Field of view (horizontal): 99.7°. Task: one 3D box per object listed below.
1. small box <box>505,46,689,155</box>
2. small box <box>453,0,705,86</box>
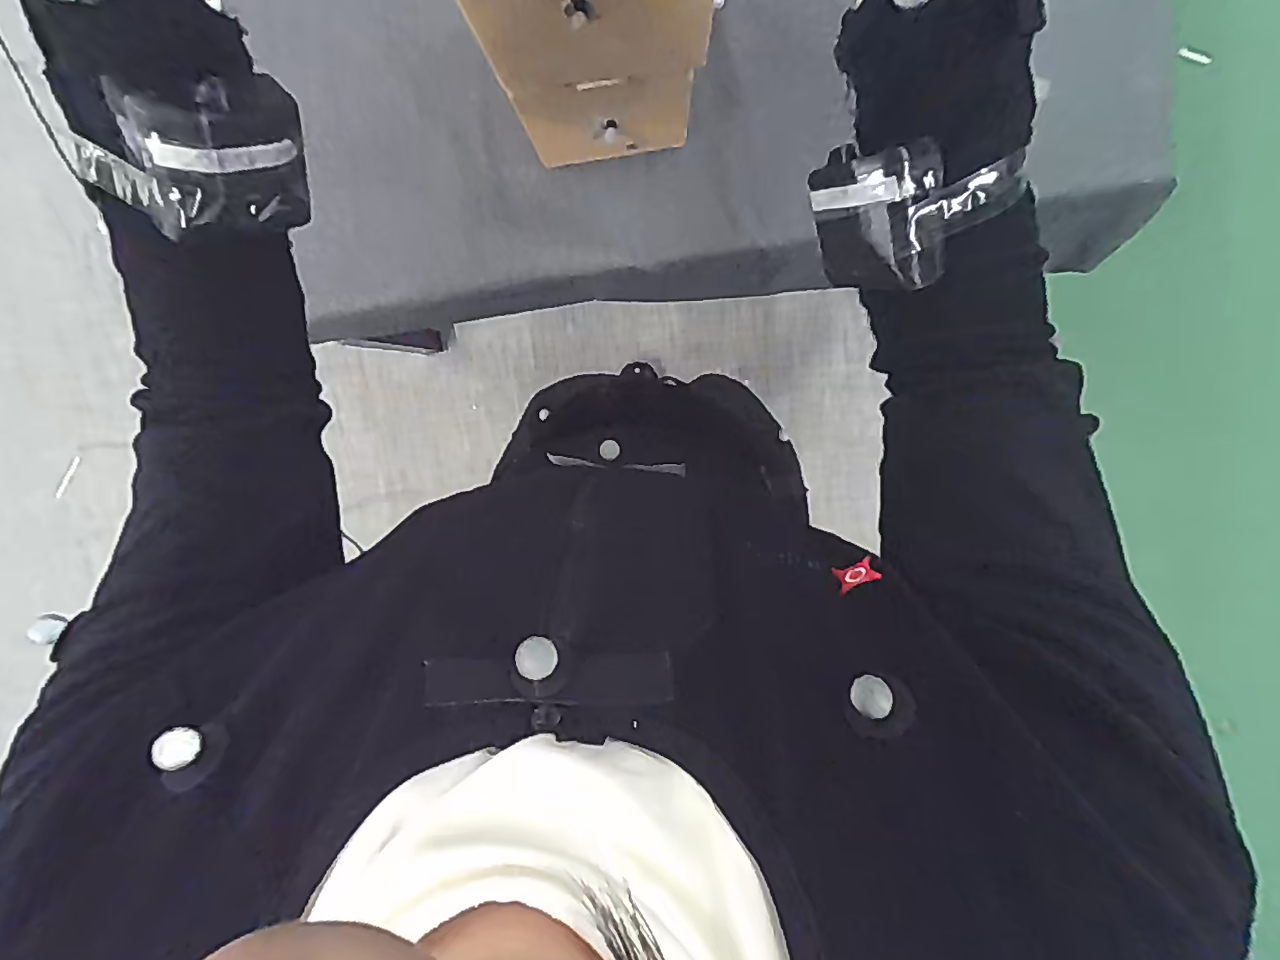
[{"bbox_3d":[-0.043,-0.446,0.530,0.168,0.176,0.179,-8,100,5],"label":"small box"},{"bbox_3d":[-0.044,-0.409,0.368,0.179,0.176,0.168,-5,100,5],"label":"small box"}]
